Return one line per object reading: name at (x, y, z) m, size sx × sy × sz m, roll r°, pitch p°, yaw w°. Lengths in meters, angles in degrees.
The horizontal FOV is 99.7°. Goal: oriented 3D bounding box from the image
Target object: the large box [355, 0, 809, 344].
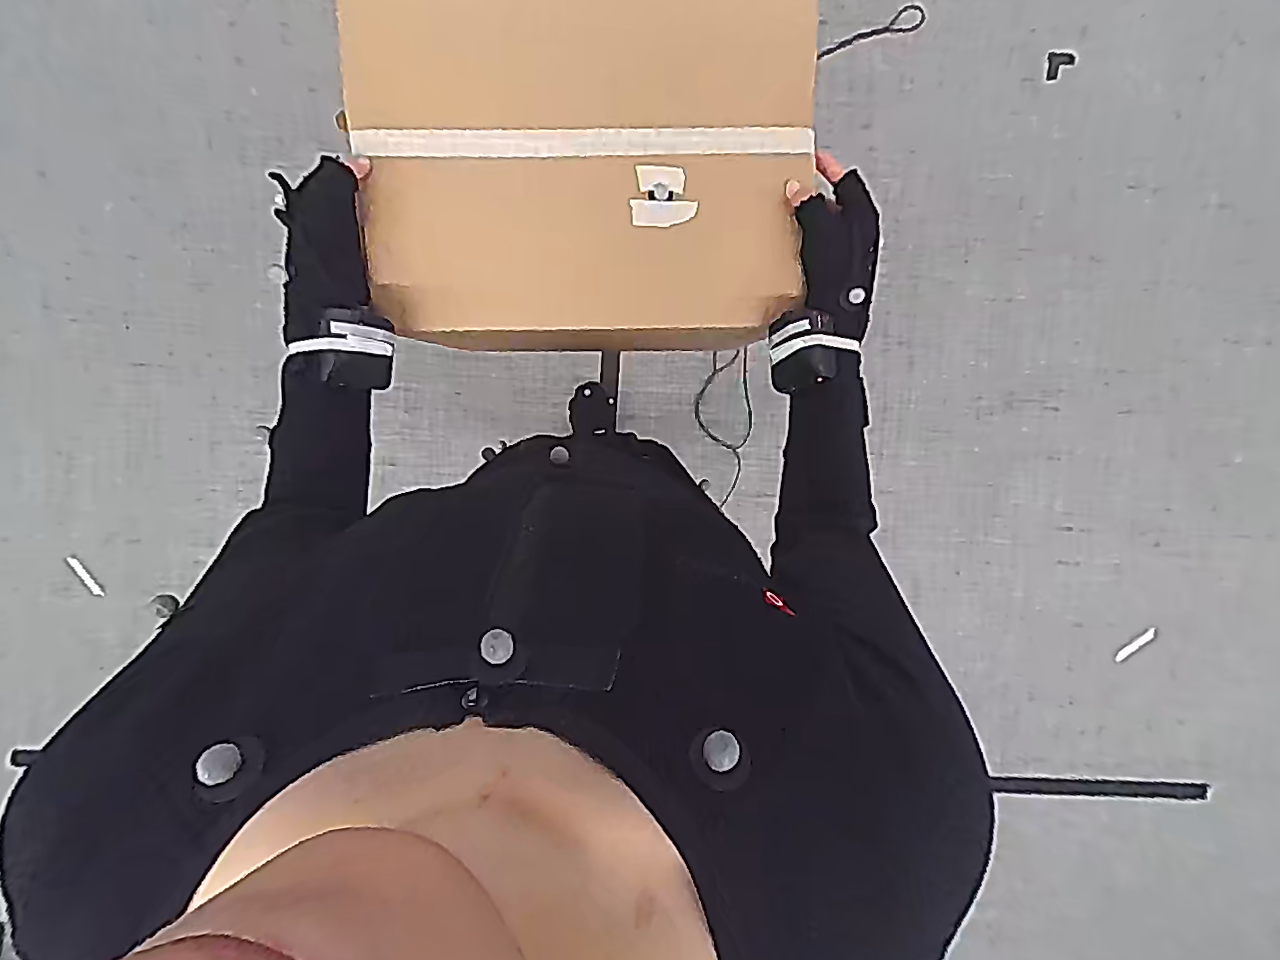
large box at (-0.052, -0.336, 0.639) m, size 0.408 × 0.320 × 0.320 m, roll -2°, pitch 101°, yaw -2°
